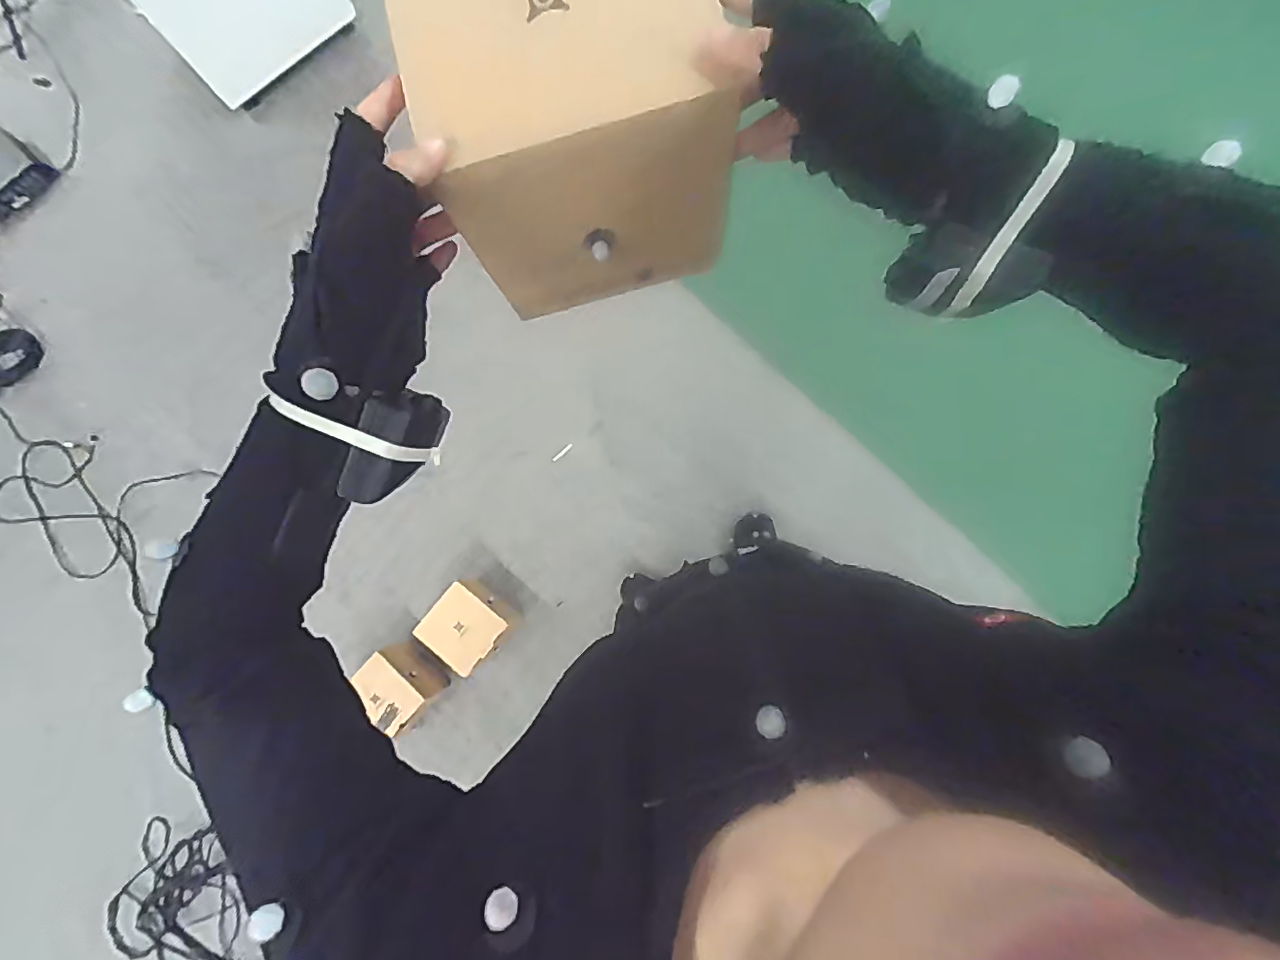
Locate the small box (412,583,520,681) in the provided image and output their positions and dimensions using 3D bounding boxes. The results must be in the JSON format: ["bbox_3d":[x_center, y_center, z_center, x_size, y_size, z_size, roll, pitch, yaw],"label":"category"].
[{"bbox_3d":[-0.437,0.382,1.386,0.179,0.176,0.168,38,83,5],"label":"small box"}]

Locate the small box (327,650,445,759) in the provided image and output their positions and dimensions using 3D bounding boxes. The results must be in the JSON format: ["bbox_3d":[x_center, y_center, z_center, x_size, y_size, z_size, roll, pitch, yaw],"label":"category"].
[{"bbox_3d":[-0.626,0.551,1.359,0.179,0.176,0.168,41,83,7],"label":"small box"}]
